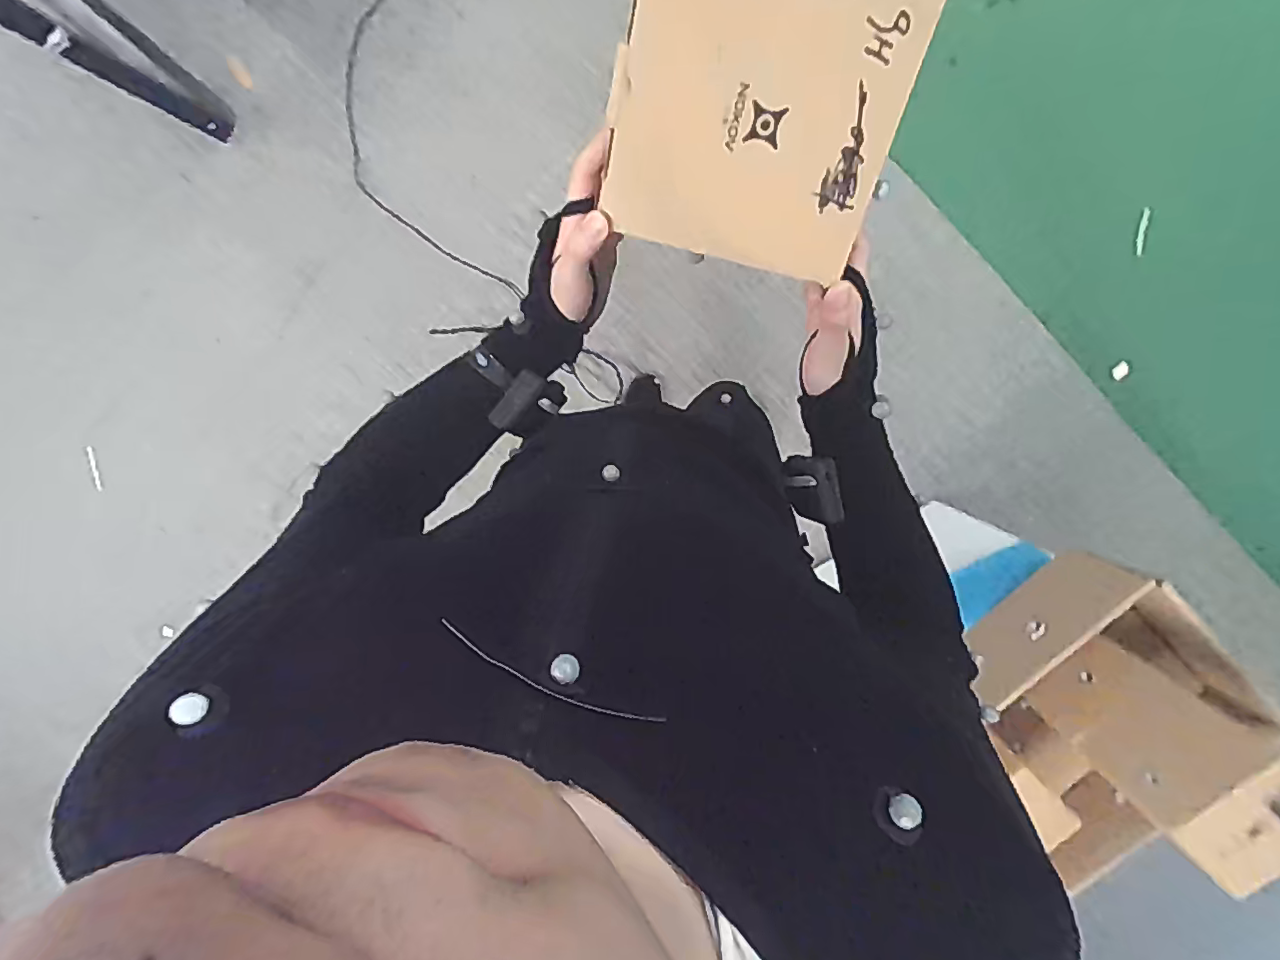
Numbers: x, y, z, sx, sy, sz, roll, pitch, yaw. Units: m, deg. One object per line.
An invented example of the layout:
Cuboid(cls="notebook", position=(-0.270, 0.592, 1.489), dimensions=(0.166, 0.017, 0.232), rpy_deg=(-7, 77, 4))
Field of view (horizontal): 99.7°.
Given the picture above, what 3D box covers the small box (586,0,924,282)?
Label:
Cuboid(cls="small box", position=(0.075, -0.263, 0.413), dimensions=(0.179, 0.176, 0.168), rpy_deg=(15, 118, 3))
